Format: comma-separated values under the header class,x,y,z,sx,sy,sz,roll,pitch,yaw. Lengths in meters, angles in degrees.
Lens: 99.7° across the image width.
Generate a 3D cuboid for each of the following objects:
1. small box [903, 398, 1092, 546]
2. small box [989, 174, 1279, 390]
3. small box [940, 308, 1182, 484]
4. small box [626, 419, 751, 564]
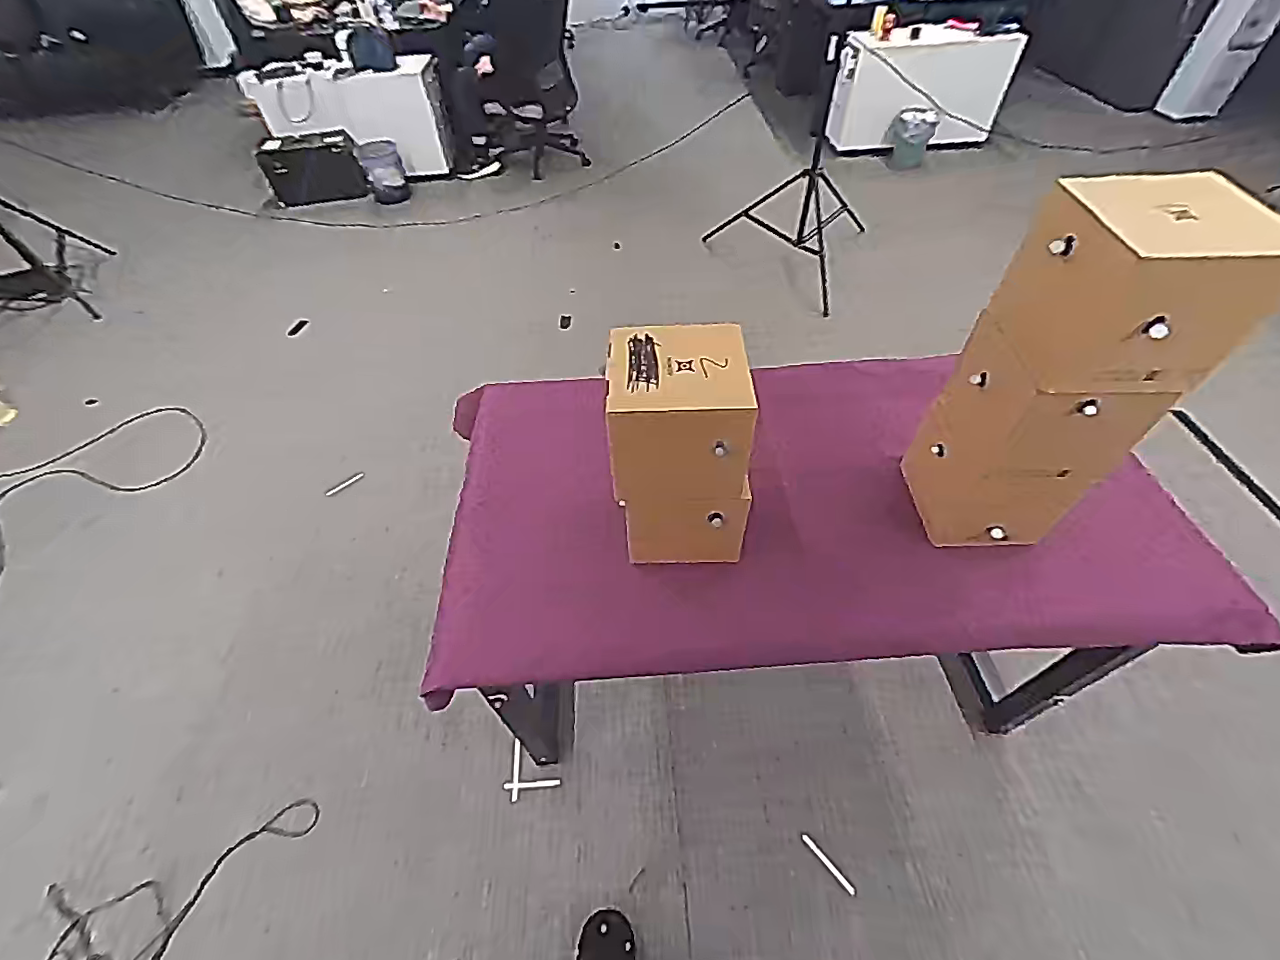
class,x,y,z,sx,sy,sz,roll,pitch,yaw
small box,0.546,-0.013,0.860,0.168,0.176,0.179,-2,51,2
small box,0.534,-0.213,0.601,0.168,0.176,0.179,-1,50,3
small box,0.540,-0.114,0.731,0.168,0.176,0.179,-1,49,3
small box,0.070,0.021,0.854,0.179,0.176,0.168,-2,49,2
